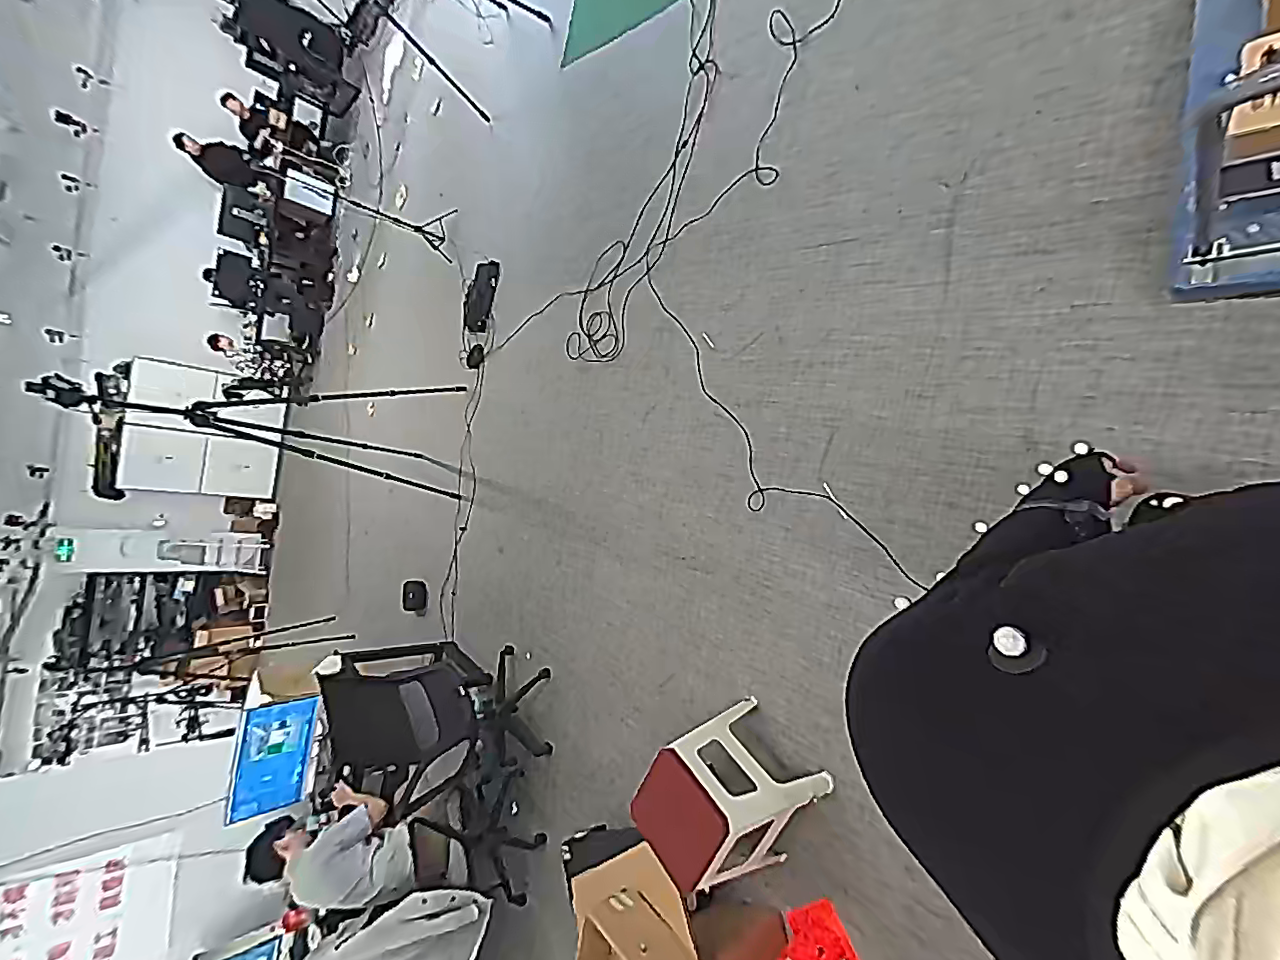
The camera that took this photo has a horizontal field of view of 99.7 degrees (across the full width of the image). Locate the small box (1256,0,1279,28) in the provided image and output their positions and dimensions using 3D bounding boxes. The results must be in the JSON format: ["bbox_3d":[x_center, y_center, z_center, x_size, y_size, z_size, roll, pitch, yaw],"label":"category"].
[{"bbox_3d":[1.206,-0.945,0.941,0.168,0.176,0.179,1,86,46],"label":"small box"}]
